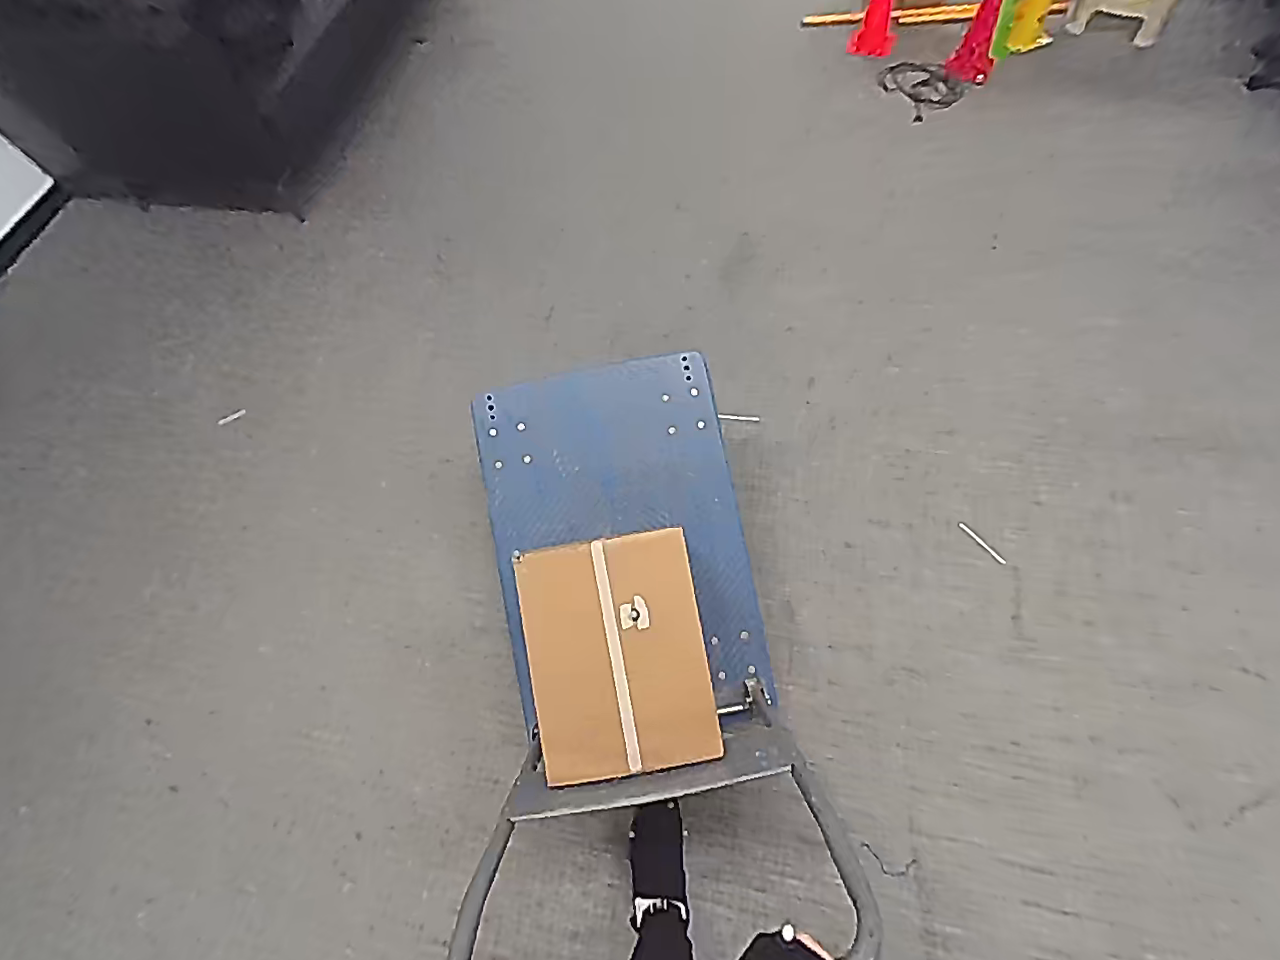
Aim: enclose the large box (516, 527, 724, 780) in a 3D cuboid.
[{"bbox_3d":[-0.034,0.325,1.120,0.320,0.320,0.408,-11,84,0],"label":"large box"}]
